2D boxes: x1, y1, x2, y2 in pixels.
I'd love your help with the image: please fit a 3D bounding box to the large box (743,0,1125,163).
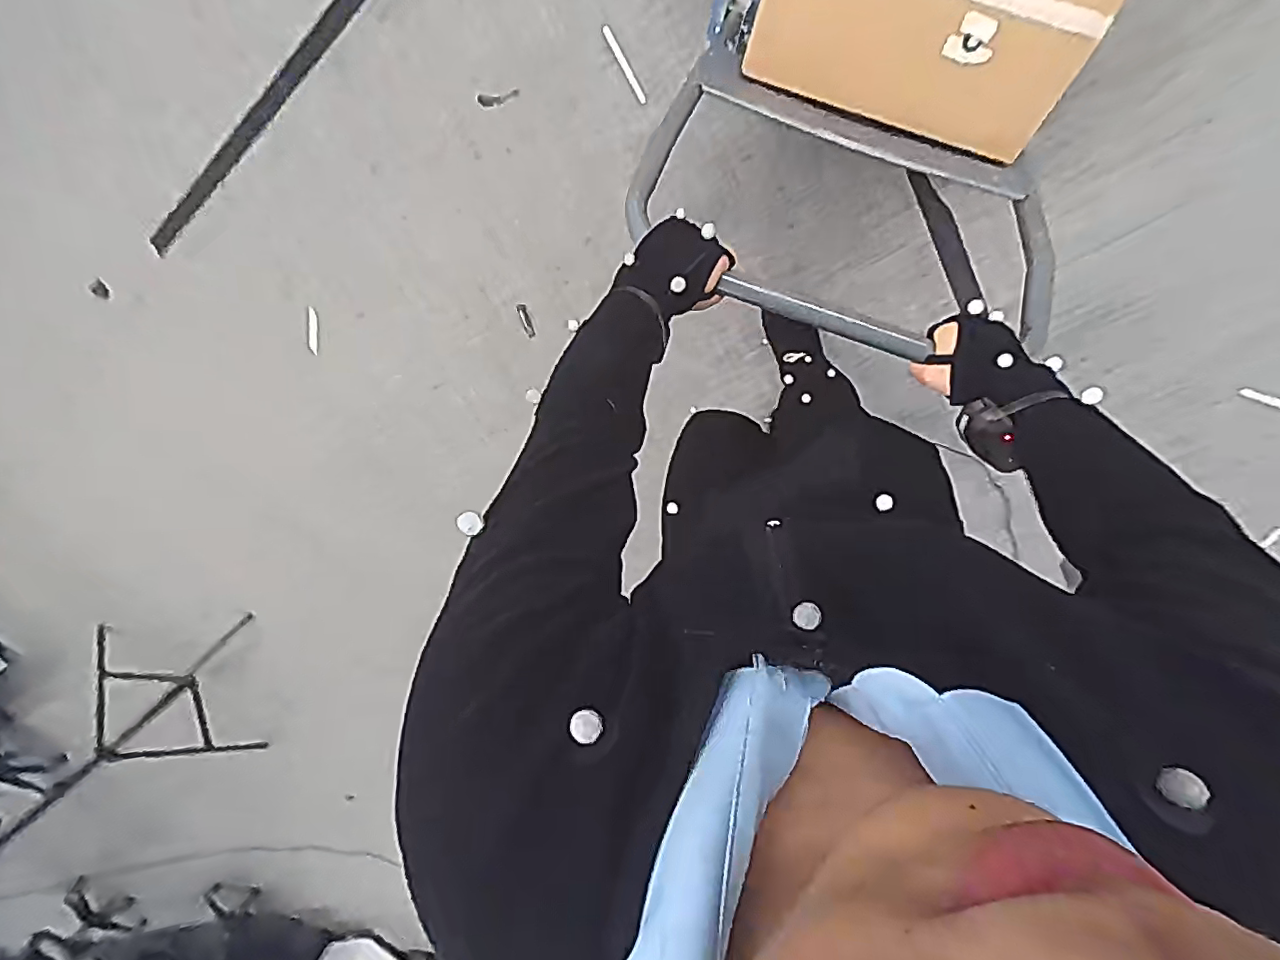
[{"bbox_3d":[0.392,-0.699,0.727,0.408,0.320,0.320,19,143,1],"label":"large box"}]
